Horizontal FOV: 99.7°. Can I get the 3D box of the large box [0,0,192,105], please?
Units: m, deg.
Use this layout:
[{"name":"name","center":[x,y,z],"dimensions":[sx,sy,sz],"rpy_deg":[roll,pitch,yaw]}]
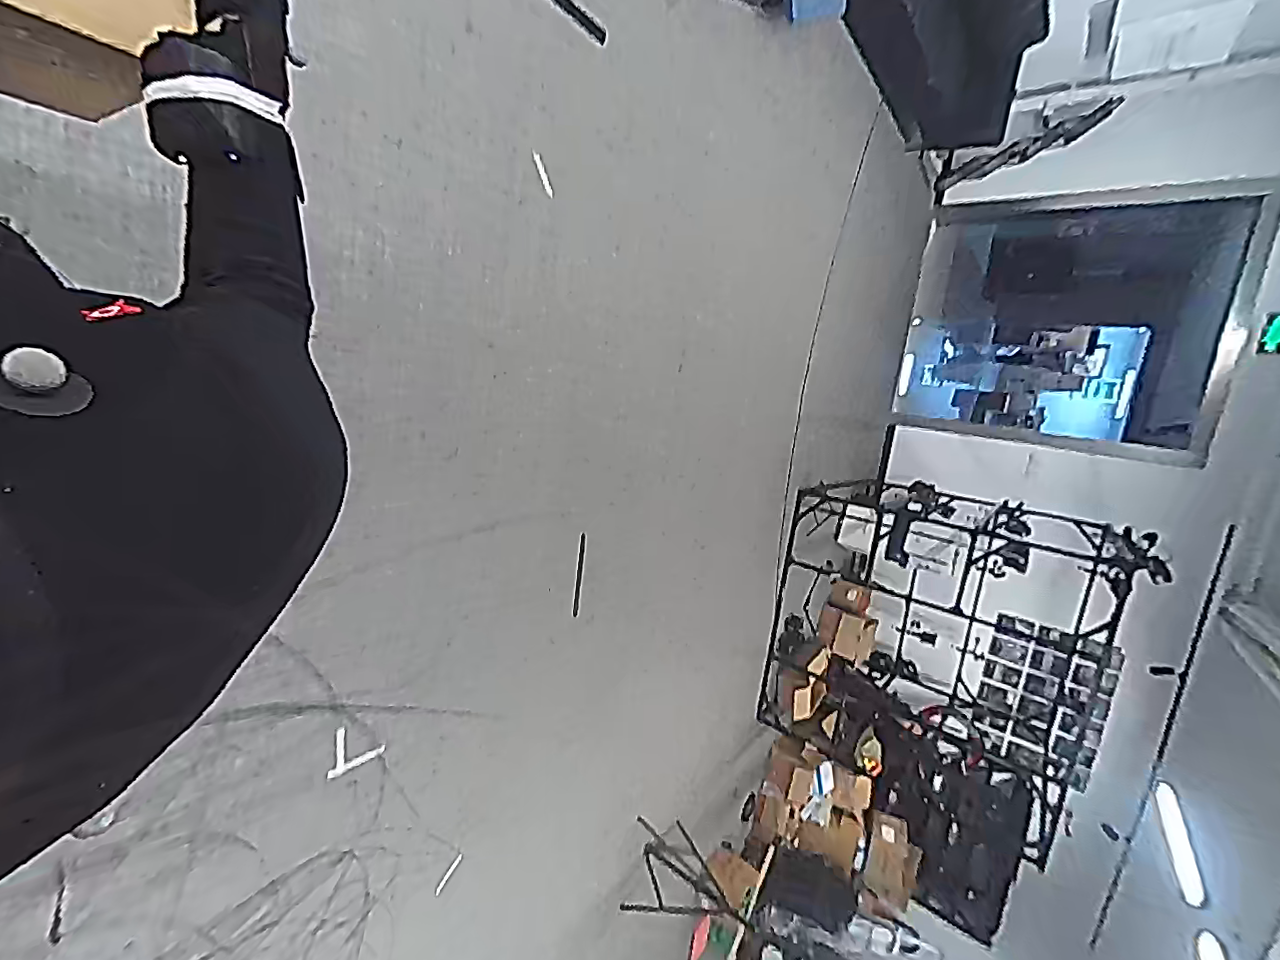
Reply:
[{"name":"large box","center":[-0.532,-0.461,0.273],"dimensions":[0.408,0.320,0.320],"rpy_deg":[-9,114,-54]}]
